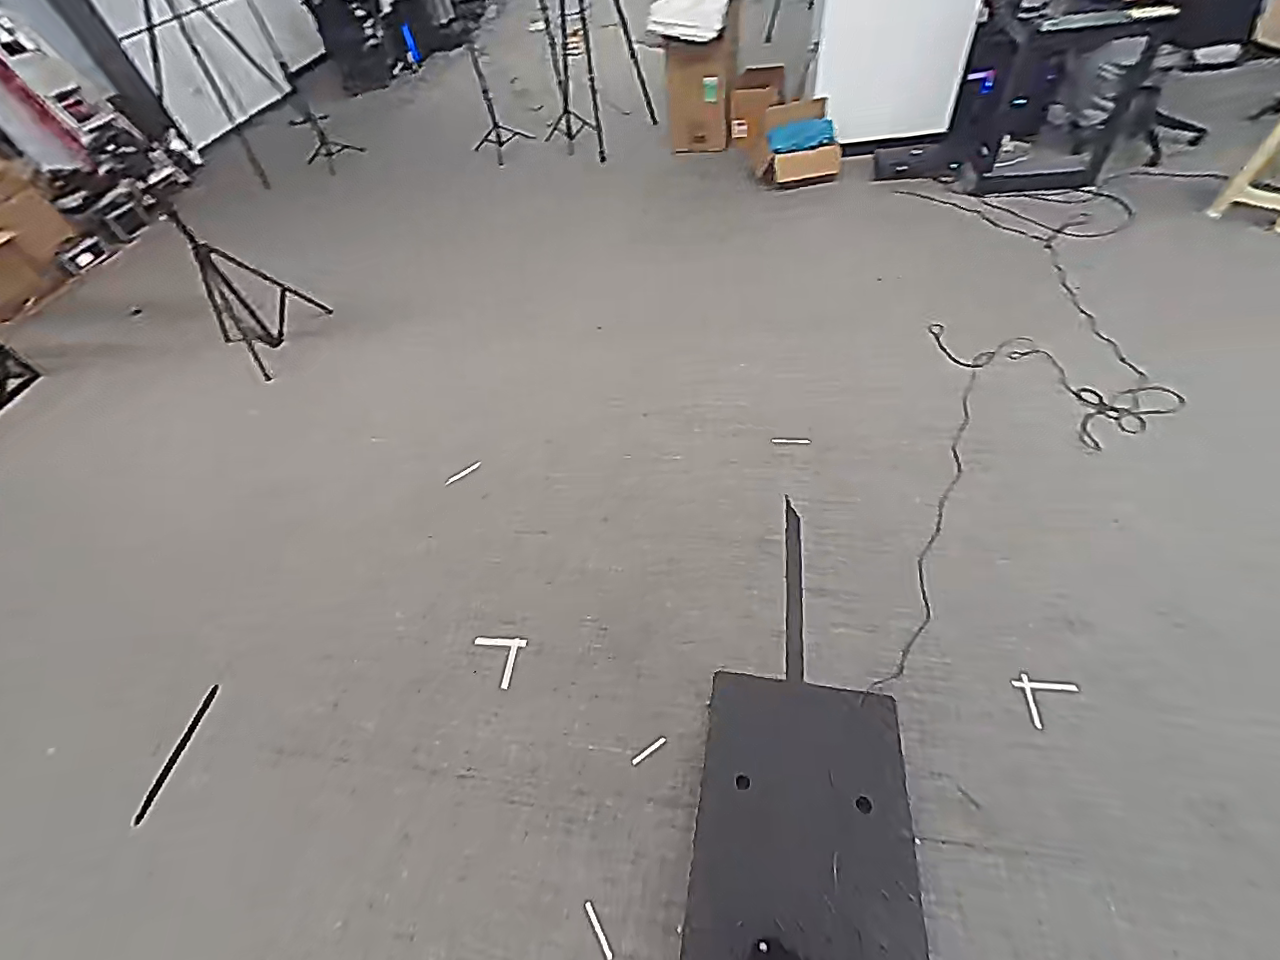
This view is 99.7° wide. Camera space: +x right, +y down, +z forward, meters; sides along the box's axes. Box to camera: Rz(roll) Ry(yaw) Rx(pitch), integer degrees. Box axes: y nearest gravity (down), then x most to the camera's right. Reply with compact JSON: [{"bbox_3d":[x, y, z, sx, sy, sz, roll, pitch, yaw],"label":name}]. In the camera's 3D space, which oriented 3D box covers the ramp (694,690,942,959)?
[{"bbox_3d":[0.369,0.934,1.153,0.509,0.206,0.991,0,49,13],"label":"ramp"}]
